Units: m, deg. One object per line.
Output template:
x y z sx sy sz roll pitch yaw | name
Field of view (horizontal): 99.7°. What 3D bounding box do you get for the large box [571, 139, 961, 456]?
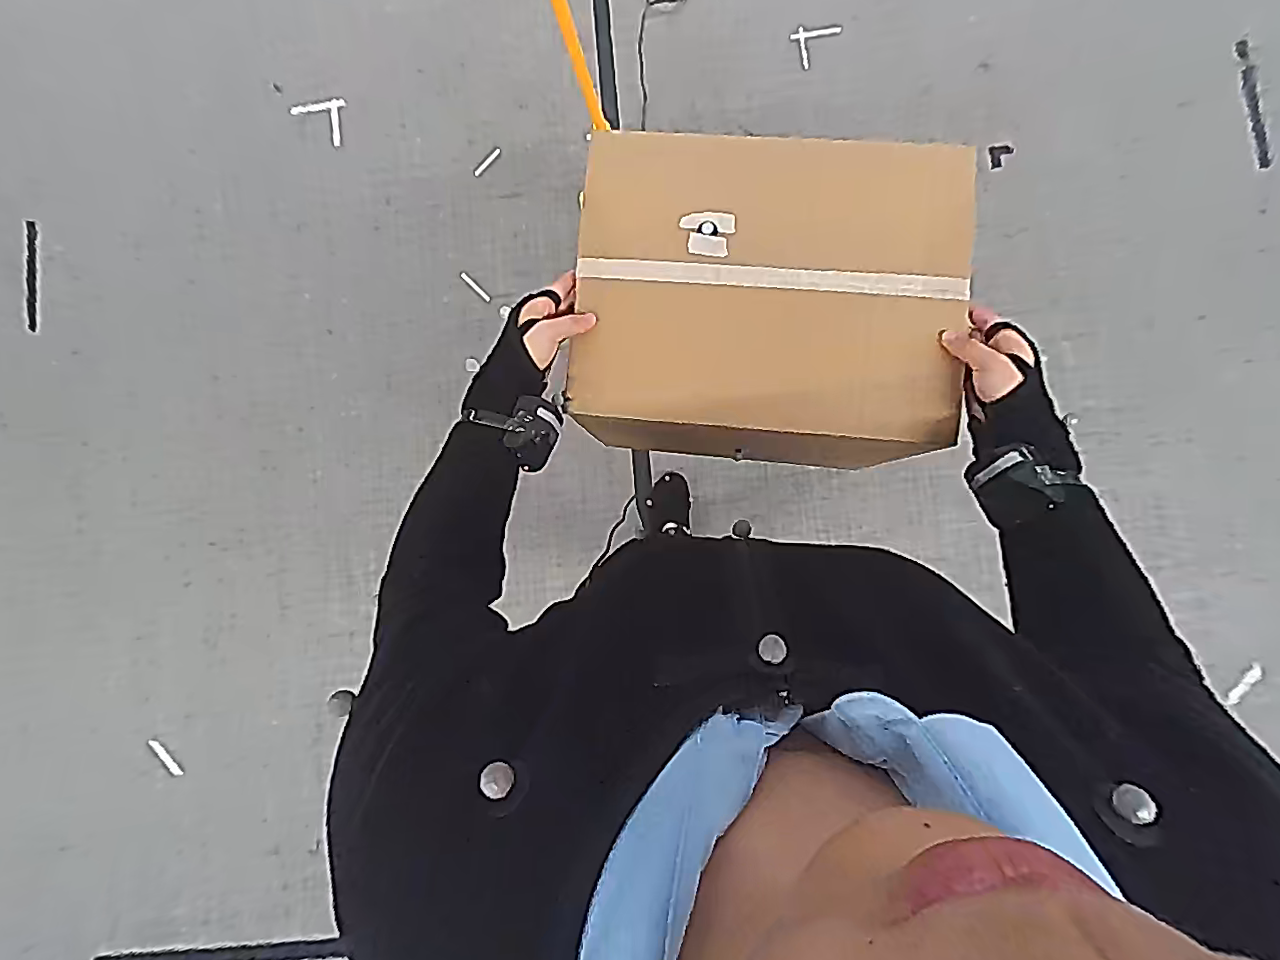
0.145 -0.207 0.726 0.408 0.320 0.320 5 86 5 | large box
